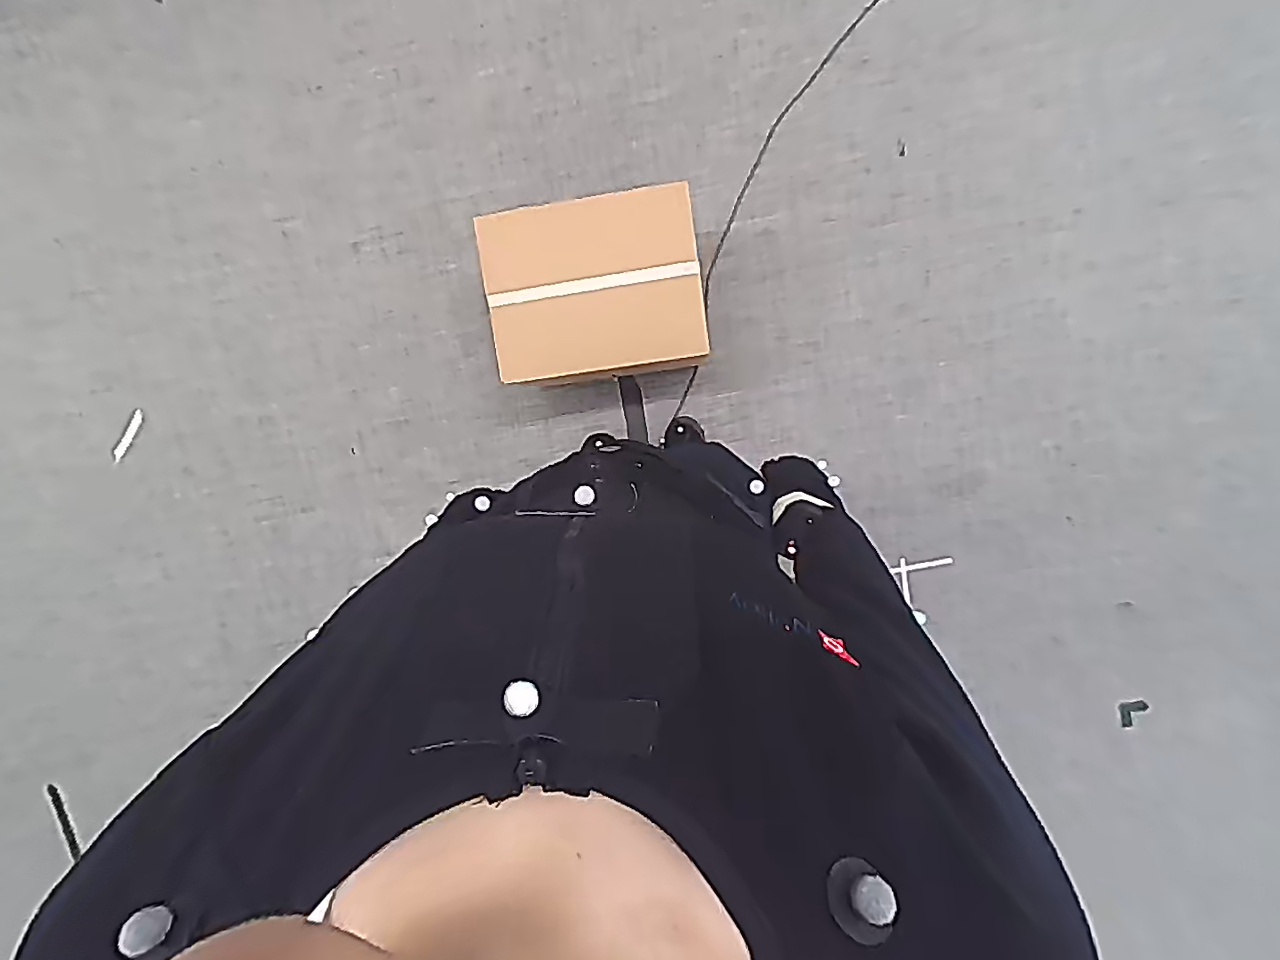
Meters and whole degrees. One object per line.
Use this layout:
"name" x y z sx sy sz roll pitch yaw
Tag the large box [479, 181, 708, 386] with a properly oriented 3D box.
"large box" -0.081 -0.389 1.164 0.408 0.320 0.320 -7 99 4
